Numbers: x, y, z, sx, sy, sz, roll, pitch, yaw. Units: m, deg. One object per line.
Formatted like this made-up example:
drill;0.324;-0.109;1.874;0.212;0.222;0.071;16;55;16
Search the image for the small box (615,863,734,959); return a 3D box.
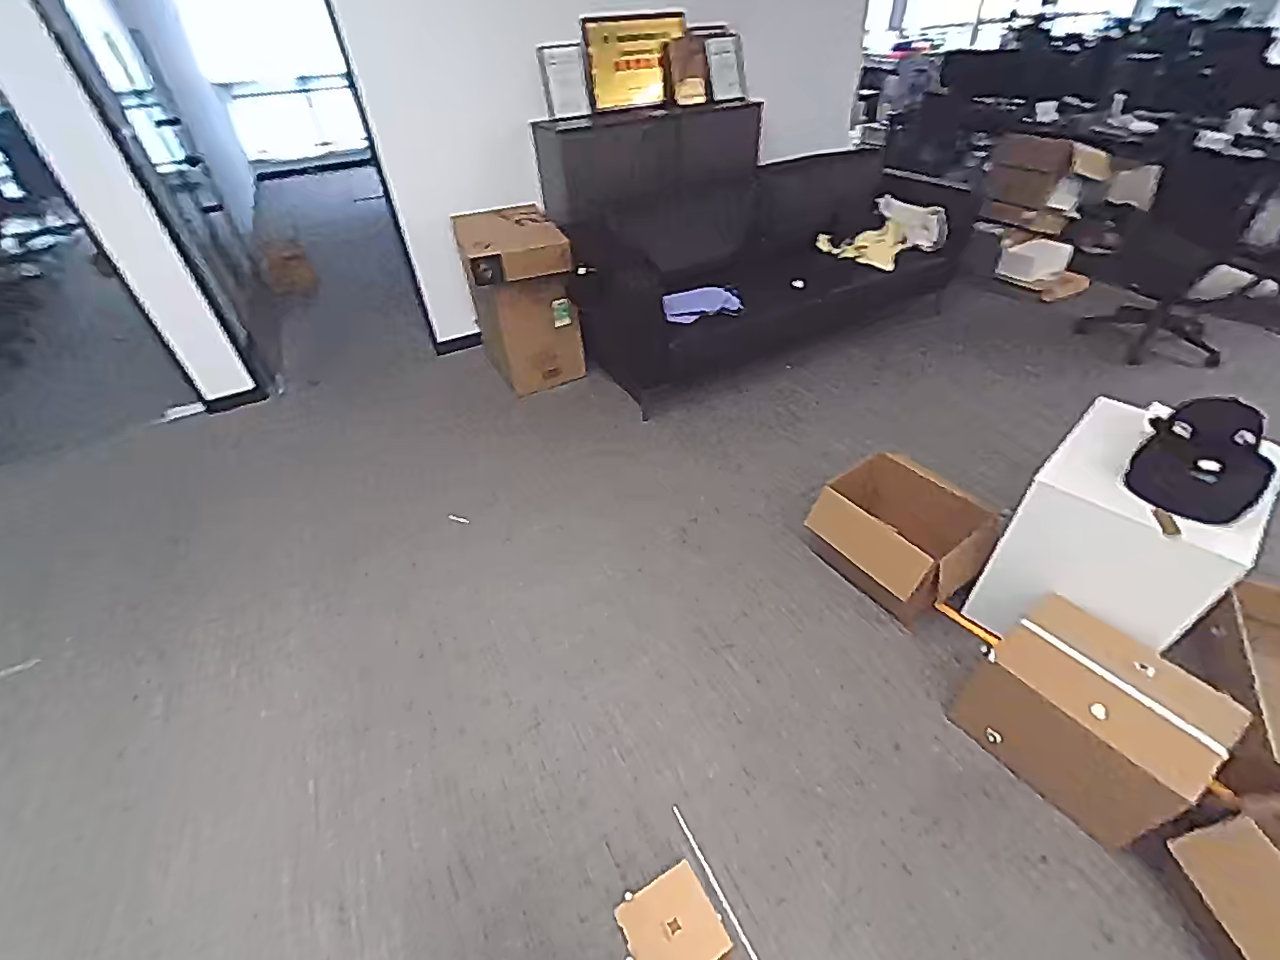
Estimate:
small box;0.066;0.922;1.084;0.179;0.176;0.168;-23;43;-20
